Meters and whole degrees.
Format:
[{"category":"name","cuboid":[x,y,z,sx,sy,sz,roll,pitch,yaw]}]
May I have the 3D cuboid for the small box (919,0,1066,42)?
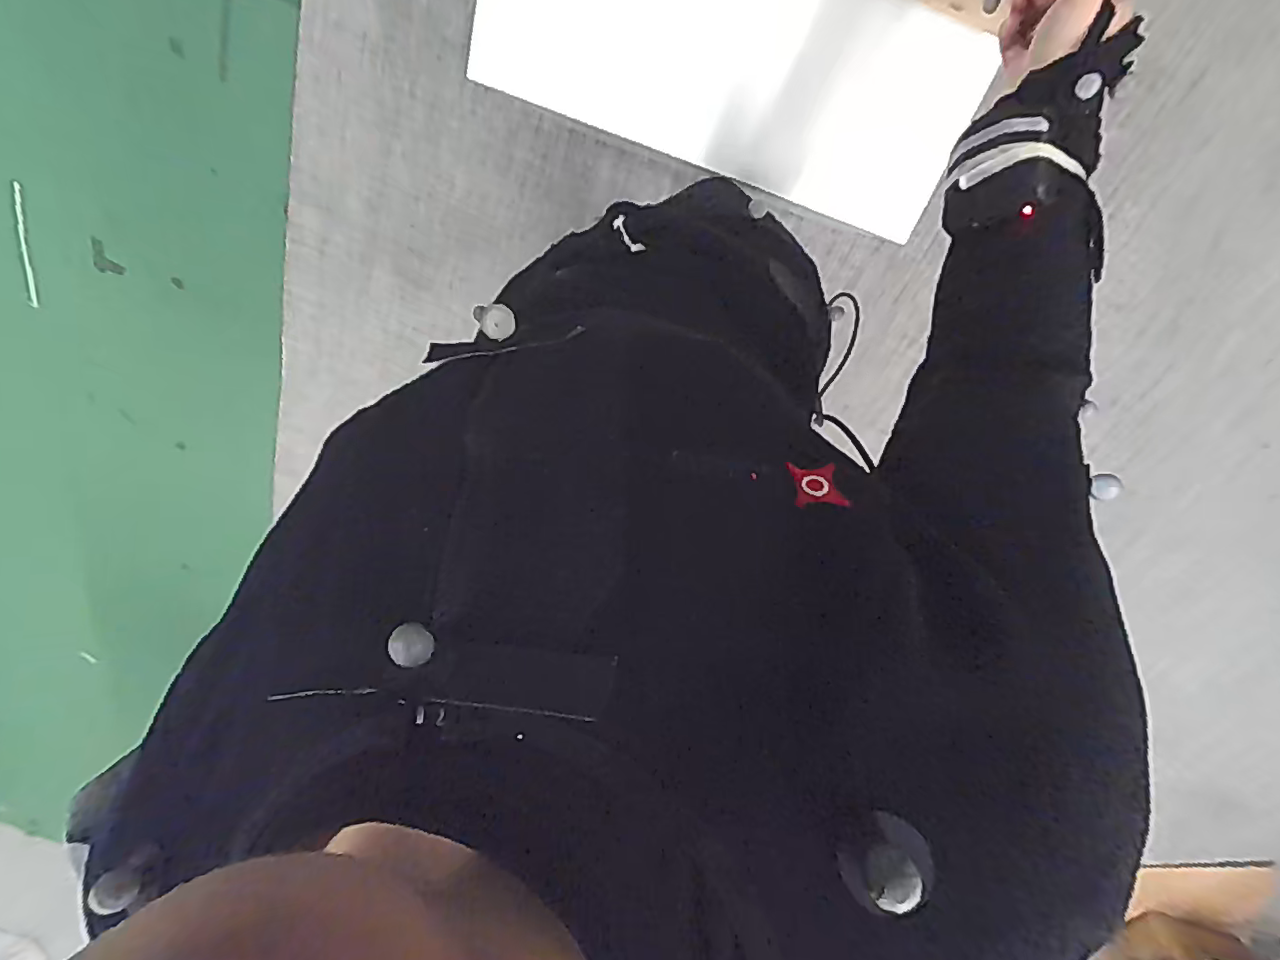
[{"category":"small box","cuboid":[0.274,-0.453,0.377,0.168,0.176,0.179,24,119,-2]}]
